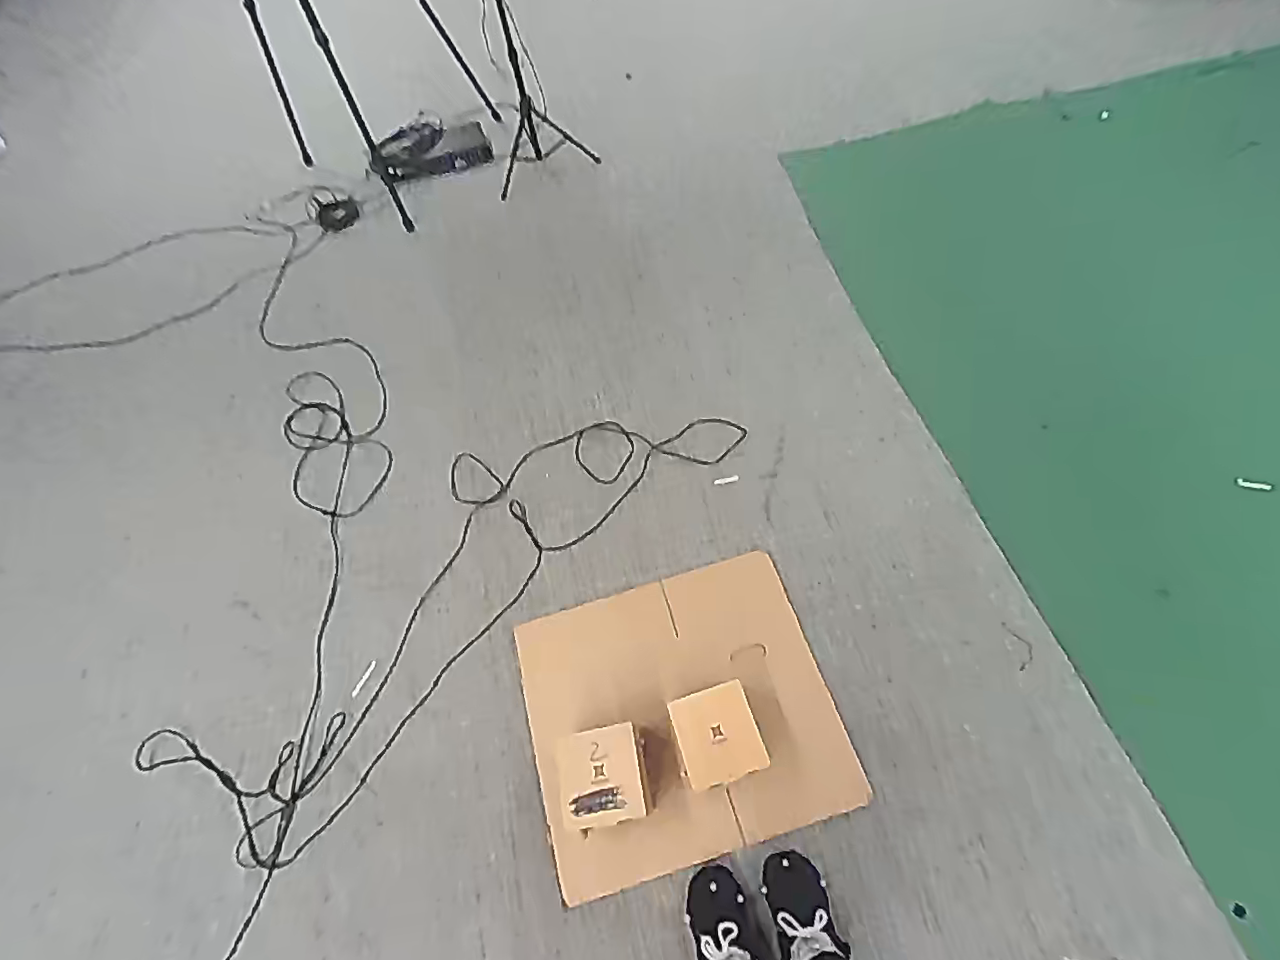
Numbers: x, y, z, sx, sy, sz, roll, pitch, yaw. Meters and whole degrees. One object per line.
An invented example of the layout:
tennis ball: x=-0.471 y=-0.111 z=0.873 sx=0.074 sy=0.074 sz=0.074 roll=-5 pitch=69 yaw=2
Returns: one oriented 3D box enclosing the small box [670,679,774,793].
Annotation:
small box: x=0.168 y=0.554 z=1.170 sx=0.168 sy=0.176 sz=0.179 roll=-18 pitch=63 yaw=-4
